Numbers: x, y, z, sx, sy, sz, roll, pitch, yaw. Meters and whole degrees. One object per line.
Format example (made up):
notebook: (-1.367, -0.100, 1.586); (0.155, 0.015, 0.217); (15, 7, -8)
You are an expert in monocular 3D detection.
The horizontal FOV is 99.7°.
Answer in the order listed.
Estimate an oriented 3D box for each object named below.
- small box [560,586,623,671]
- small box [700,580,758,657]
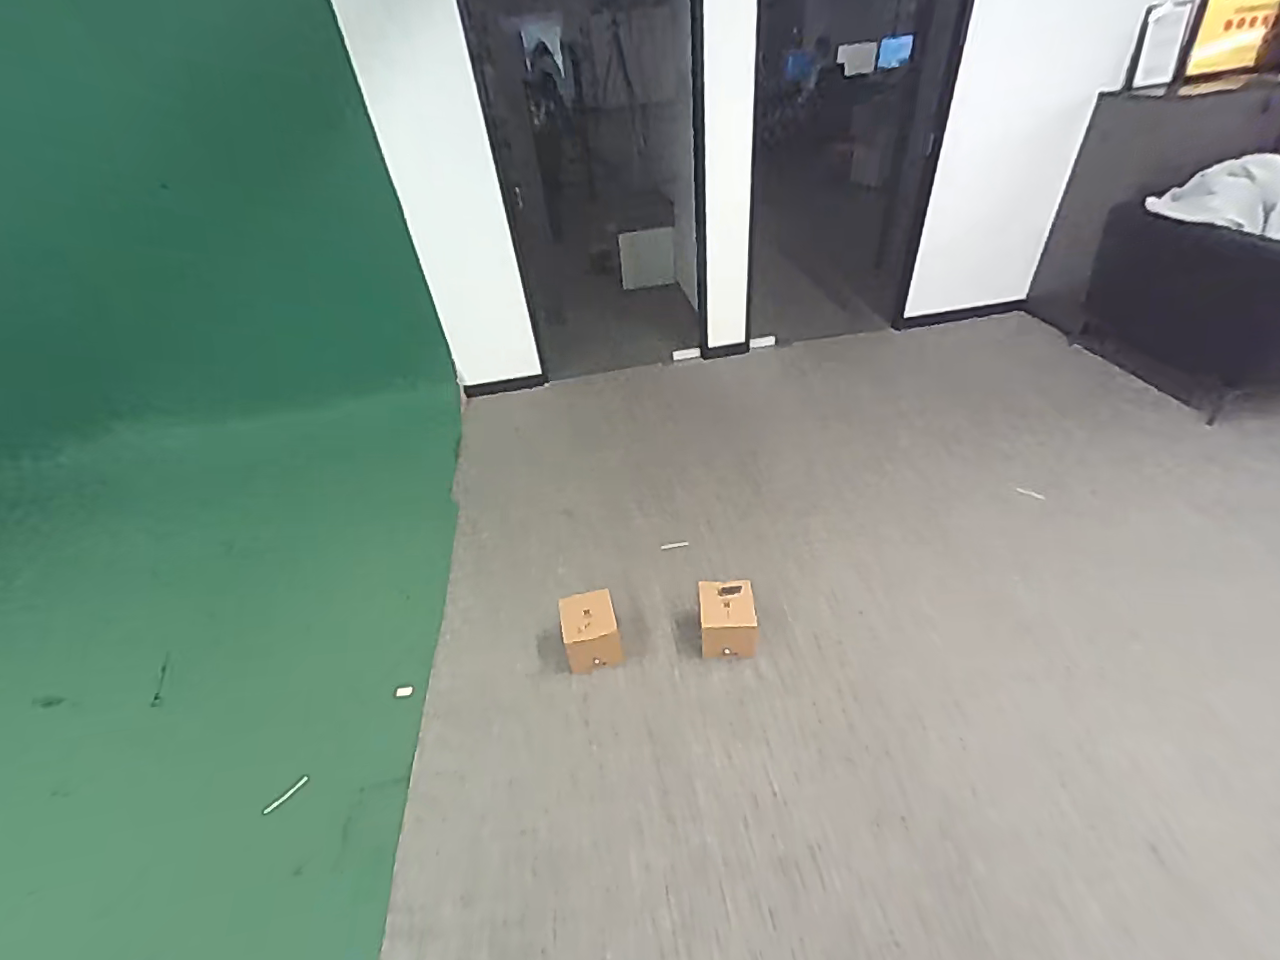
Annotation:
small box: (-0.154, 0.470, 1.709); (0.168, 0.176, 0.179); (-12, 39, -6)
small box: (0.273, 0.434, 1.697); (0.168, 0.176, 0.179); (-3, 40, 5)
